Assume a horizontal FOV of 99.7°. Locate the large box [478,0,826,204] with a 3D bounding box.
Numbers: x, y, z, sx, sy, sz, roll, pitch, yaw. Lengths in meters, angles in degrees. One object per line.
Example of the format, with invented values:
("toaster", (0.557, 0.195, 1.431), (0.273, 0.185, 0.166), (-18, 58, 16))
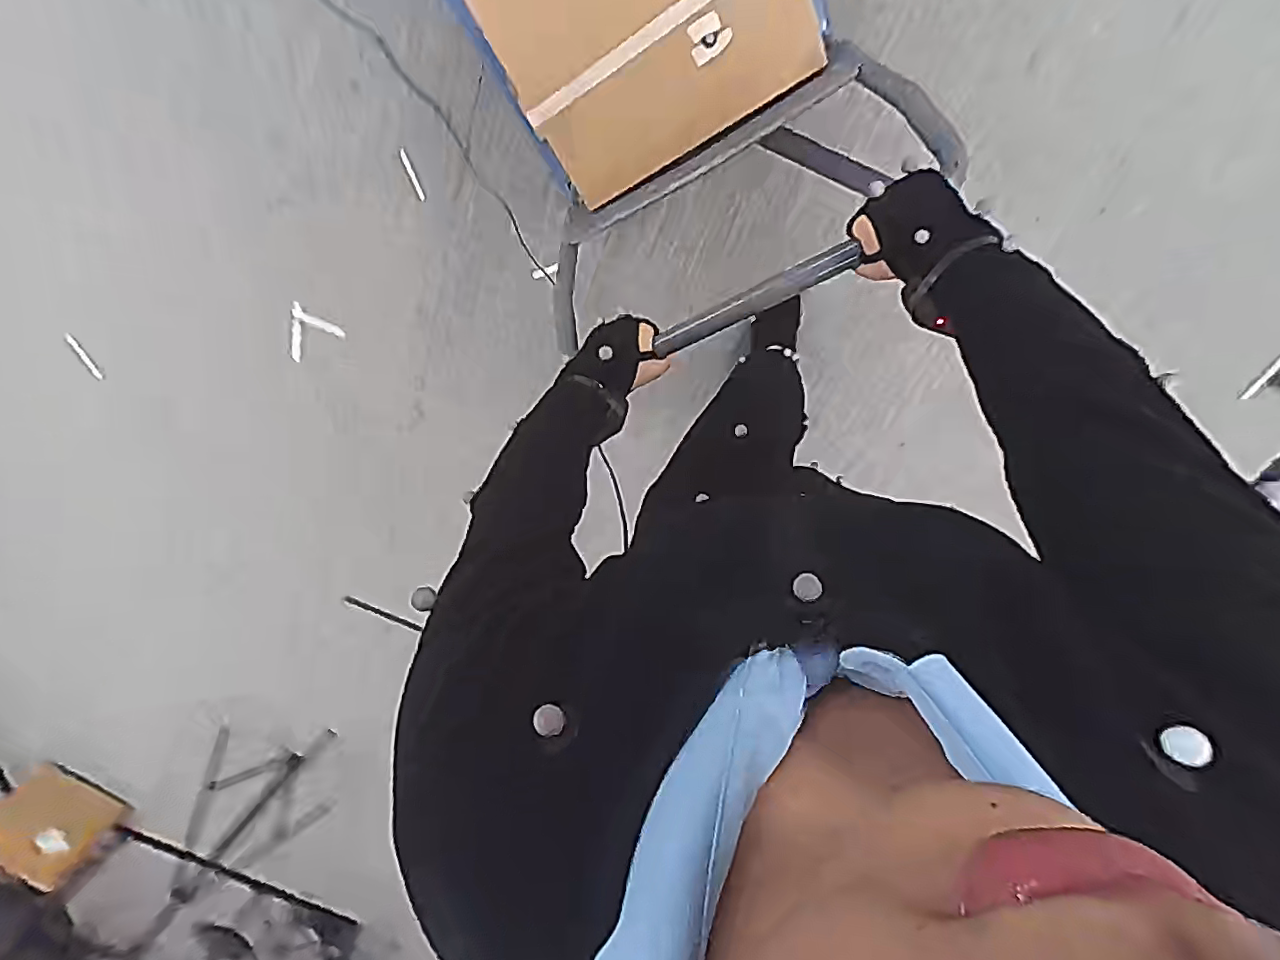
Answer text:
("large box", (0.020, -0.730, 0.861), (0.408, 0.320, 0.320), (-23, 130, 20))
